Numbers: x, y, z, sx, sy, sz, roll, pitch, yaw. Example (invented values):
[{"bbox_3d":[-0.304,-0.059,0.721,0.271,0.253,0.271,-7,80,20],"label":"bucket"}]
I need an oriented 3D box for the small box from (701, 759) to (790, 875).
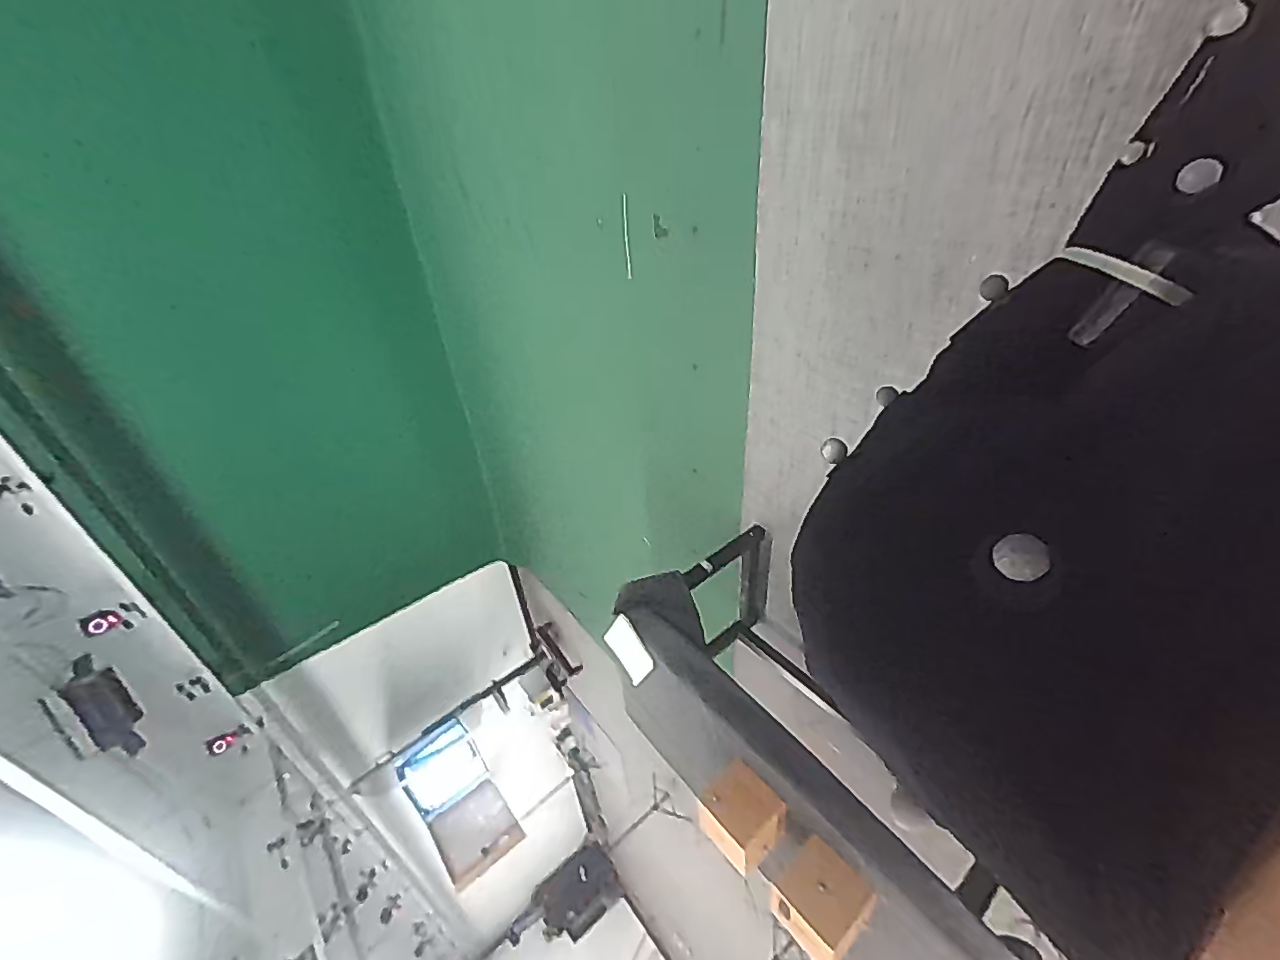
[{"bbox_3d":[0.290,0.910,1.475,0.179,0.176,0.168,31,139,45],"label":"small box"}]
